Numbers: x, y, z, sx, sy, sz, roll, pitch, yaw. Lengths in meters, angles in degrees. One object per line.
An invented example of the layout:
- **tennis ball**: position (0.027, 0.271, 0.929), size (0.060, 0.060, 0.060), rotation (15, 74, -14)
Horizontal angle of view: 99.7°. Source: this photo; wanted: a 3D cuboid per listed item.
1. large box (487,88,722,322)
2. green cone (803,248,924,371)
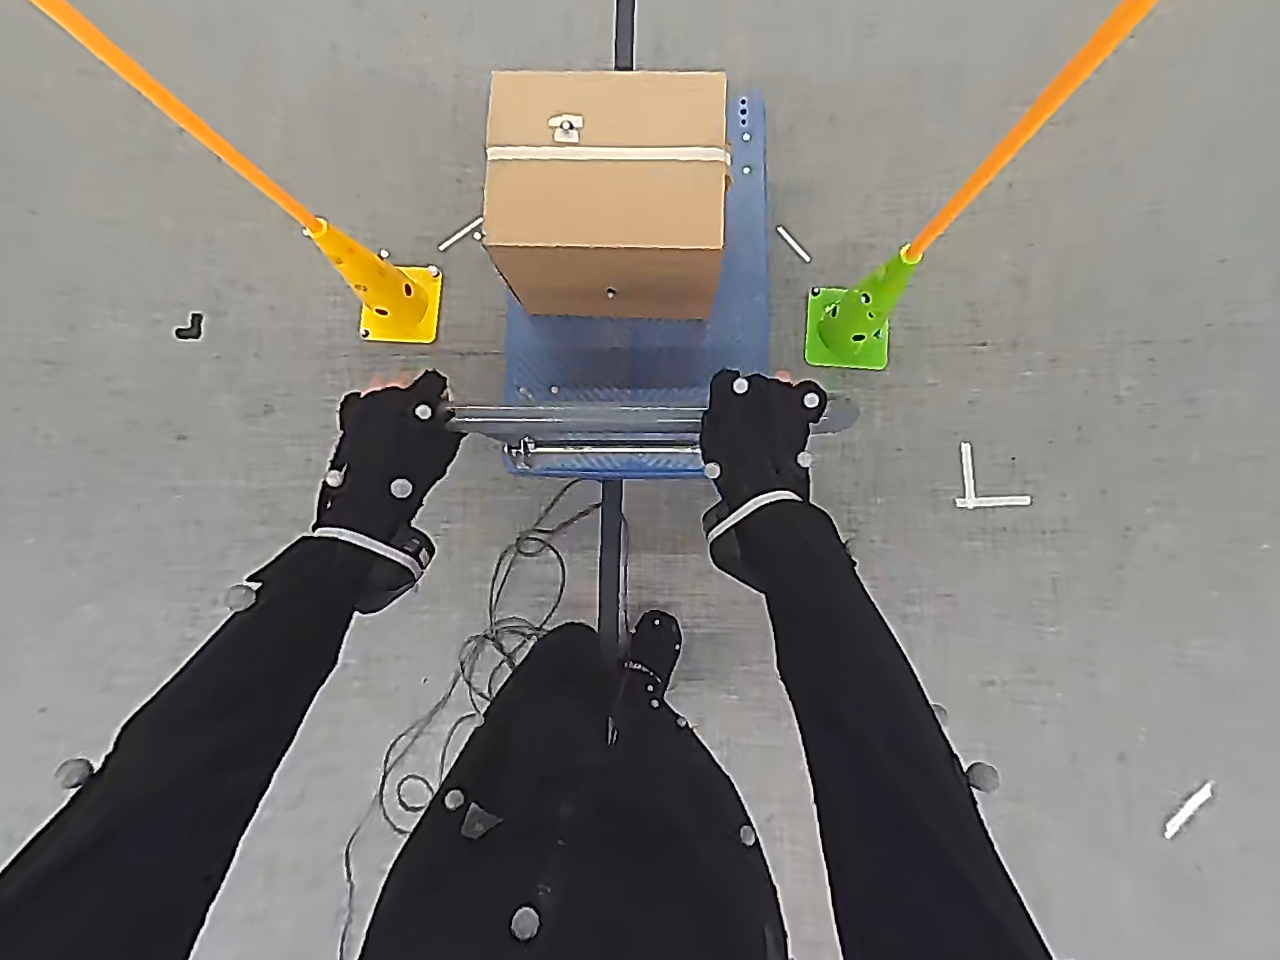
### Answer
- **large box**: position (-0.051, -0.514, 1.074), size (0.408, 0.320, 0.320), rotation (2, 86, 4)
- **green cone**: position (0.508, -0.391, 1.180), size (0.202, 0.368, 0.200), rotation (4, 85, 2)
